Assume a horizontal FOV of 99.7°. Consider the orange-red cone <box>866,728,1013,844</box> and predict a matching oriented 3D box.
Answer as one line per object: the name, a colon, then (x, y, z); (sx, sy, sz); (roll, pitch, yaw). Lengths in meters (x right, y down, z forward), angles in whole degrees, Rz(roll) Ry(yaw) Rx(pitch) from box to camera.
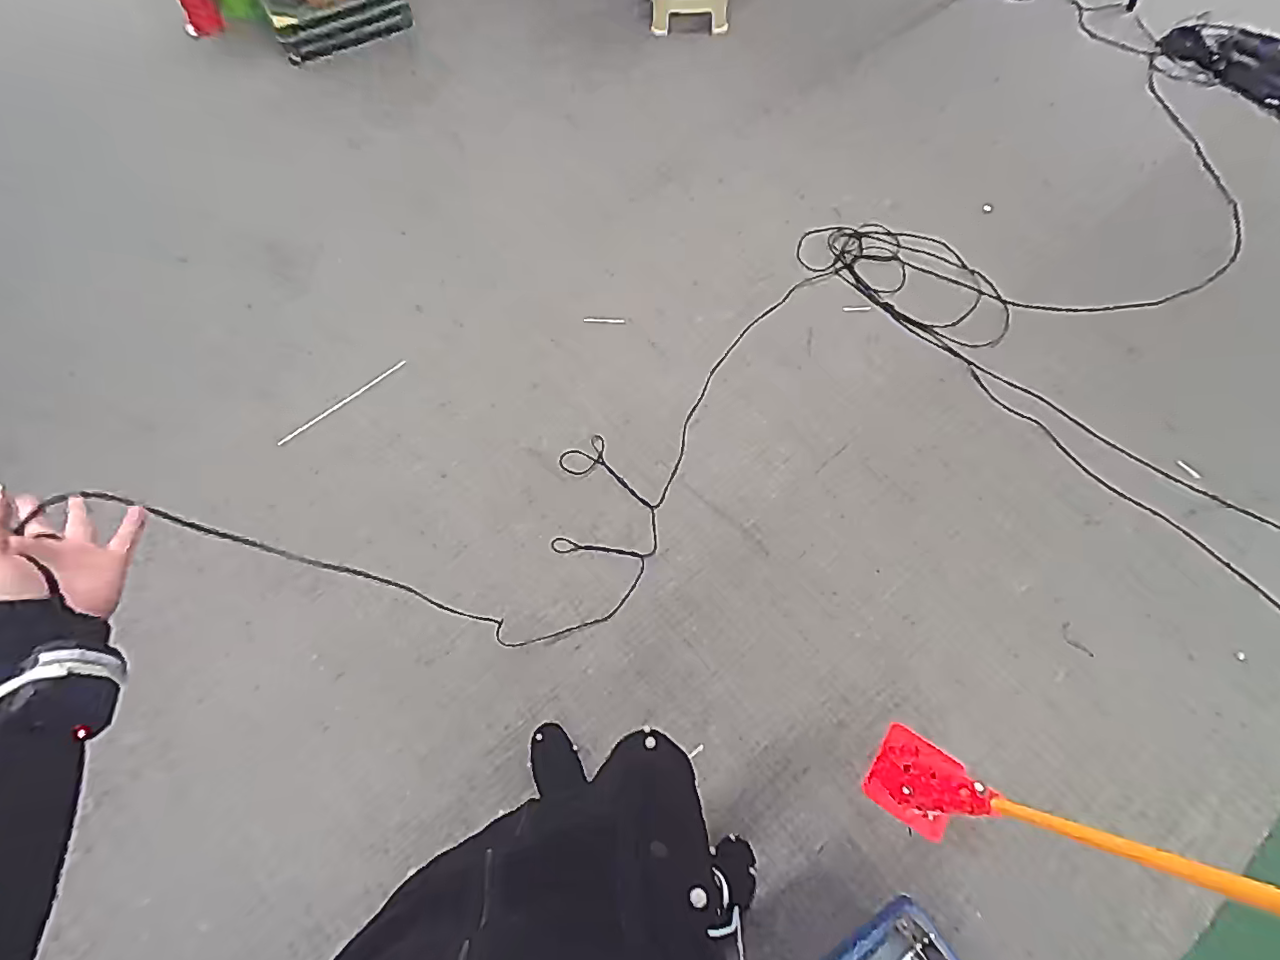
orange-red cone: (0.674, 0.675, 1.164); (0.198, 0.360, 0.199); (33, 71, 14)
